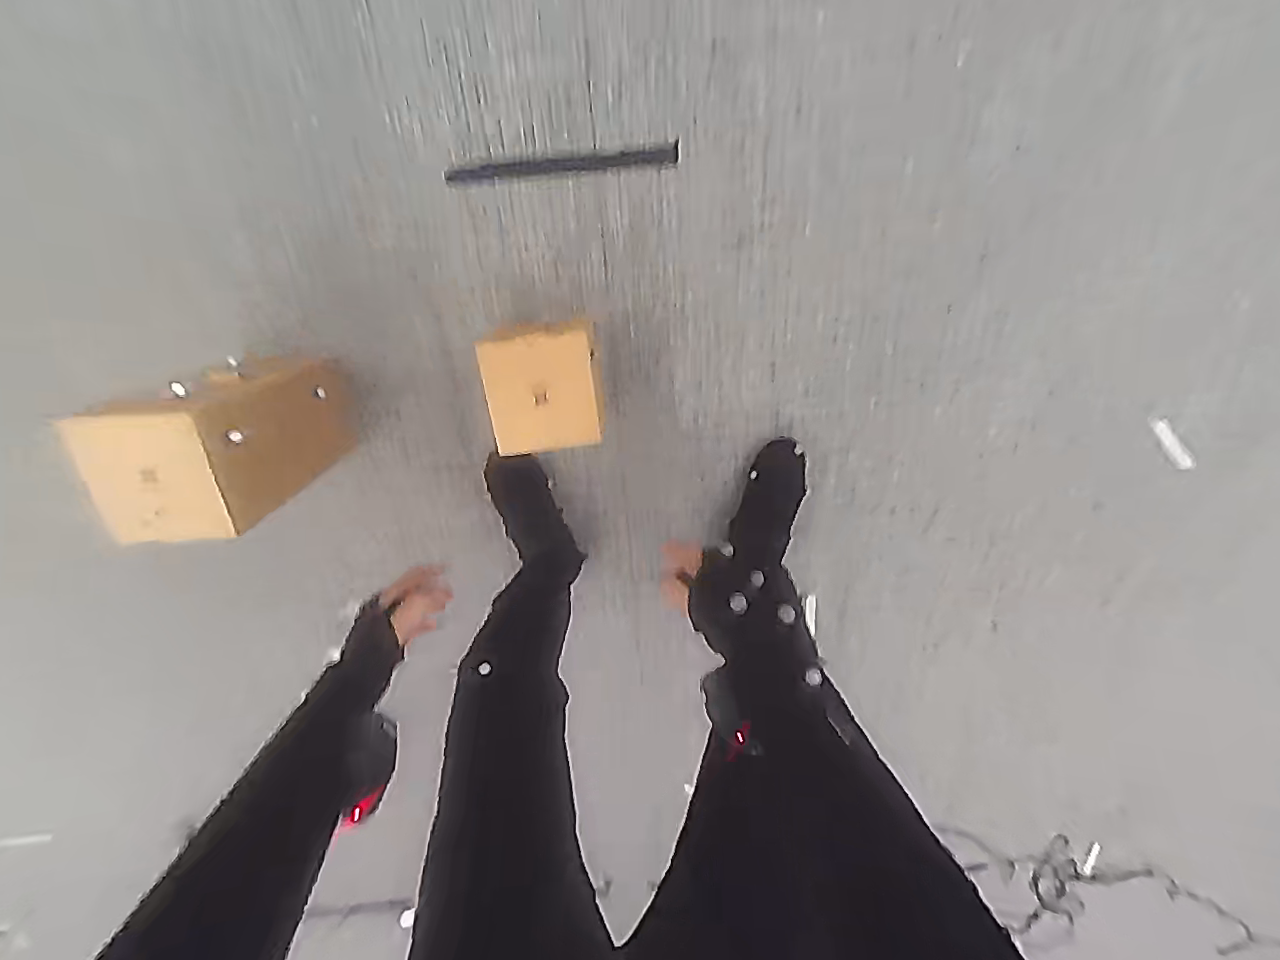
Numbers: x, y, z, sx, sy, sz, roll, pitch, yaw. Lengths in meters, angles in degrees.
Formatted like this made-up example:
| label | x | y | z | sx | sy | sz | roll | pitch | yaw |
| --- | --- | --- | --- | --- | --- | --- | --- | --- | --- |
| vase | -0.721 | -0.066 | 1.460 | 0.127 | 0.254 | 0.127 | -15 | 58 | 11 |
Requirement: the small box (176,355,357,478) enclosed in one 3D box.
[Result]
| label | x | y | z | sx | sy | sz | roll | pitch | yaw |
| --- | --- | --- | --- | --- | --- | --- | --- | --- | --- |
| small box | -0.607 | -0.112 | 0.905 | 0.168 | 0.176 | 0.179 | -1 | 113 | 0 |

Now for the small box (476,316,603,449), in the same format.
| label | x | y | z | sx | sy | sz | roll | pitch | yaw |
| --- | --- | --- | --- | --- | --- | --- | --- | --- | --- |
| small box | -0.154 | -0.167 | 0.897 | 0.168 | 0.176 | 0.179 | -7 | 112 | 1 |

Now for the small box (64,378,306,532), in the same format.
| label | x | y | z | sx | sy | sz | roll | pitch | yaw |
| --- | --- | --- | --- | --- | --- | --- | --- | --- | --- |
| small box | -0.611 | -0.044 | 0.756 | 0.168 | 0.176 | 0.179 | -2 | 114 | 0 |
